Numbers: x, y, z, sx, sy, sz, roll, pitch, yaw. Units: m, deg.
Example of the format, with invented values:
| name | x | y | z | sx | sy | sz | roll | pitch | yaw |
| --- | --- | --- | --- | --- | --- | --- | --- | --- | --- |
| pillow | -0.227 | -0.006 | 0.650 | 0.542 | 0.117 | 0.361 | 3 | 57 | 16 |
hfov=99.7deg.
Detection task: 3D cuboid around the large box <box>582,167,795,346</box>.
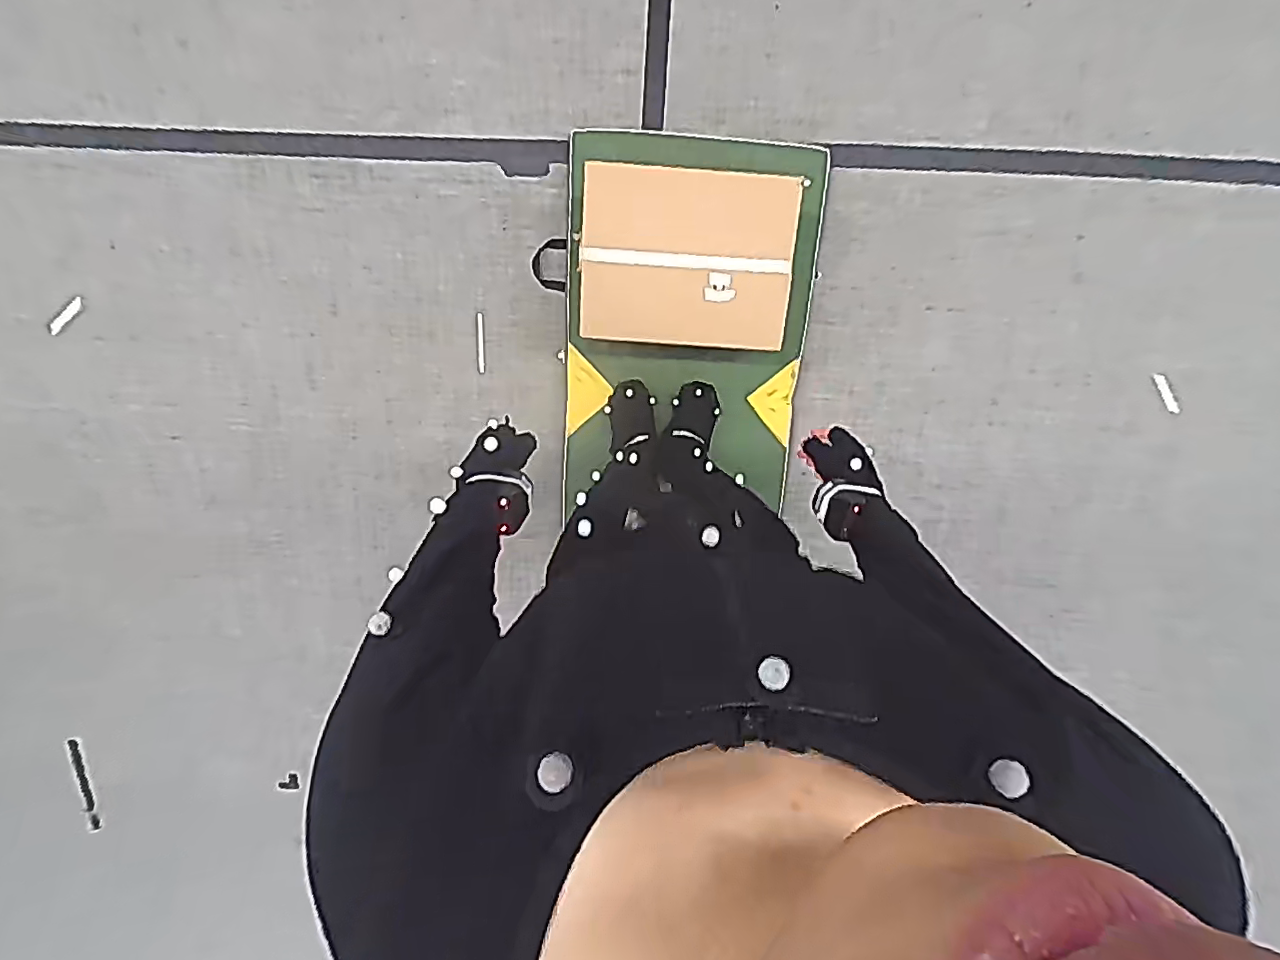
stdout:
| name | x | y | z | sx | sy | sz | roll | pitch | yaw |
| --- | --- | --- | --- | --- | --- | --- | --- | --- | --- |
| large box | 0.084 | -0.466 | 1.187 | 0.408 | 0.320 | 0.320 | 3 | 107 | -1 |
